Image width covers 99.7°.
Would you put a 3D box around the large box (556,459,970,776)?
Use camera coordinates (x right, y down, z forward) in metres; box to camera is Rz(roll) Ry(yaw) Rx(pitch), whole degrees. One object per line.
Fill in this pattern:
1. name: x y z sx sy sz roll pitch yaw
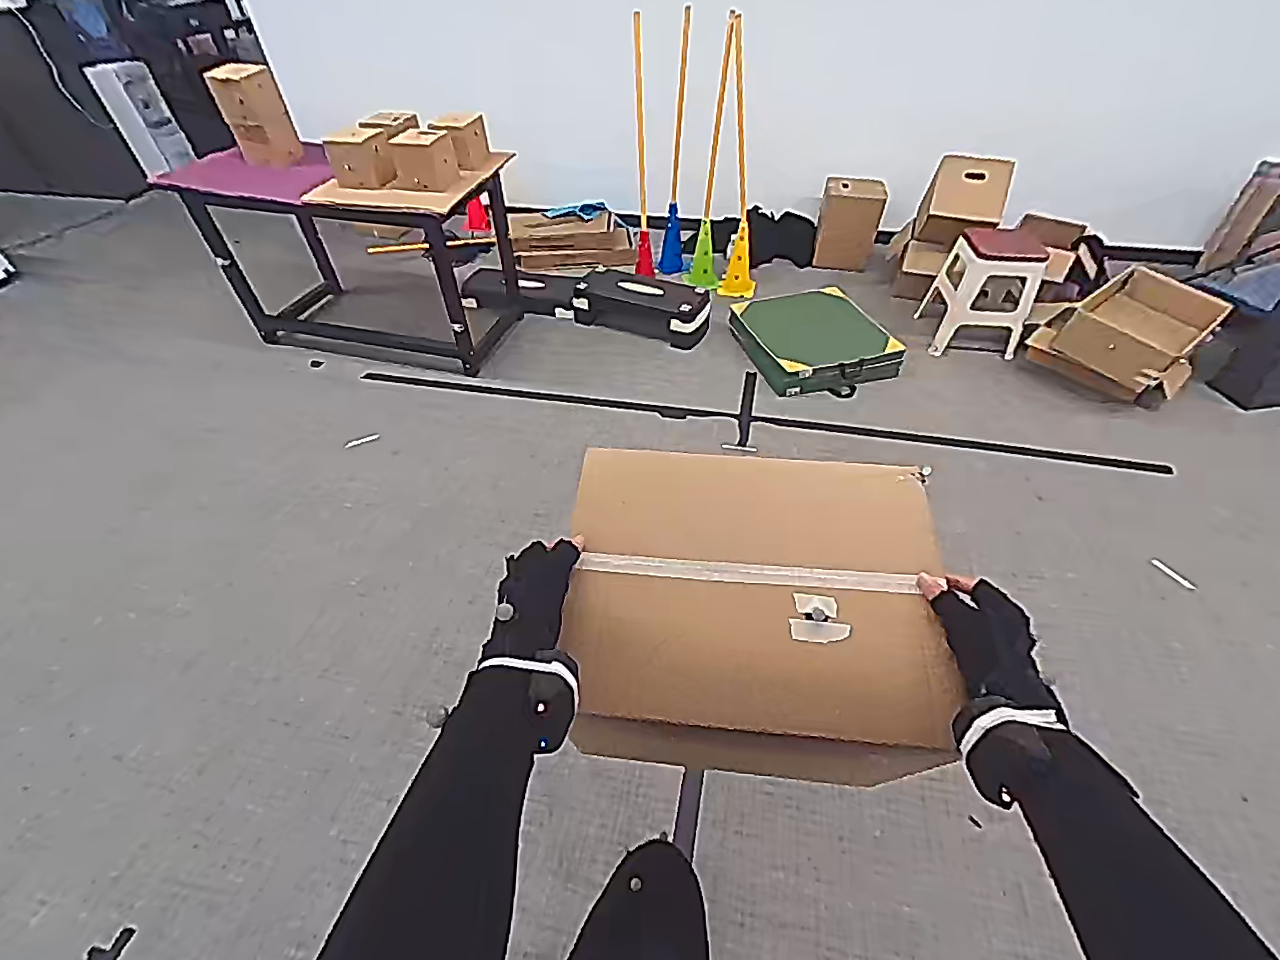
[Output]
1. large box: 0.129 0.191 0.723 0.408 0.320 0.320 3 56 5
